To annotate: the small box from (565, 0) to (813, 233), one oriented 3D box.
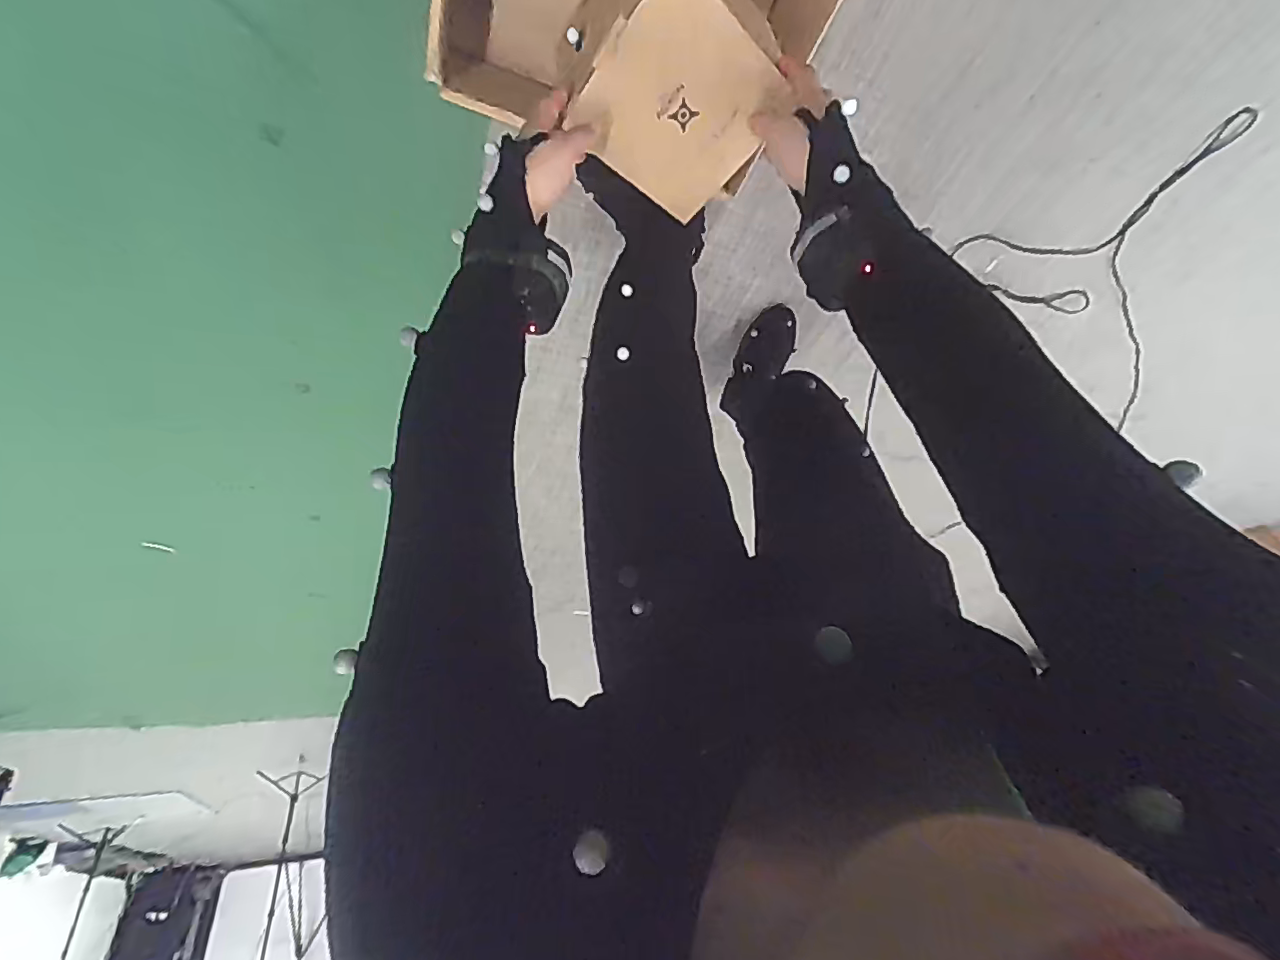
[{"bbox_3d":[0.038,-0.400,0.542,0.179,0.176,0.168,18,142,-37],"label":"small box"}]
